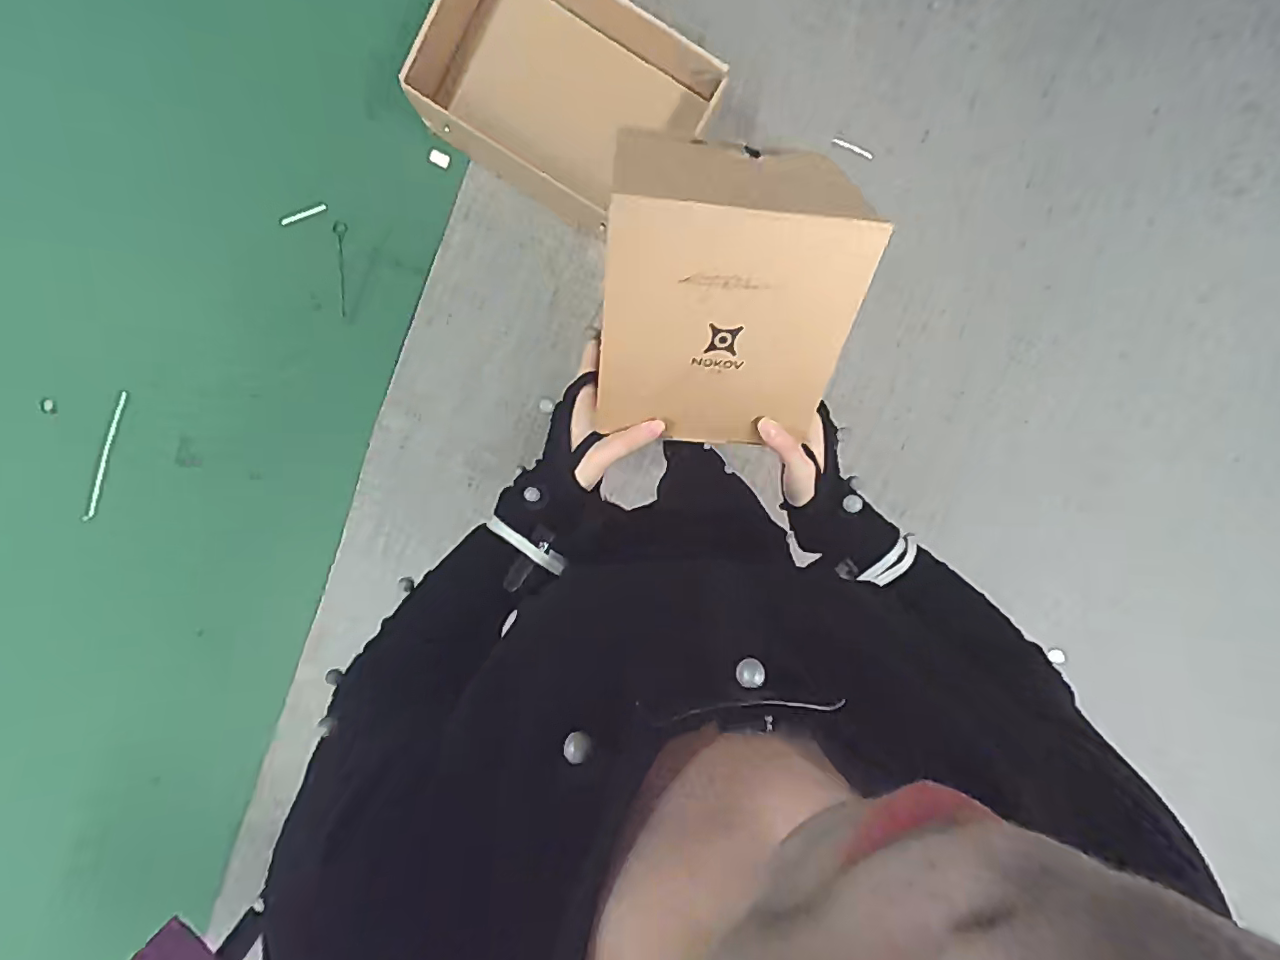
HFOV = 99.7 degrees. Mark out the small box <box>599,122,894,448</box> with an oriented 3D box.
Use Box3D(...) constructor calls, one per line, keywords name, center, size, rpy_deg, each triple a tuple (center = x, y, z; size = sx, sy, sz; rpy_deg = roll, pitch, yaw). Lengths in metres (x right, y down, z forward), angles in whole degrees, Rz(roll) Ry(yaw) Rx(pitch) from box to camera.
Box3D(name="small box", center=(0.060, -0.150, 0.421), size=(0.168, 0.176, 0.179), rpy_deg=(4, 134, -4))
